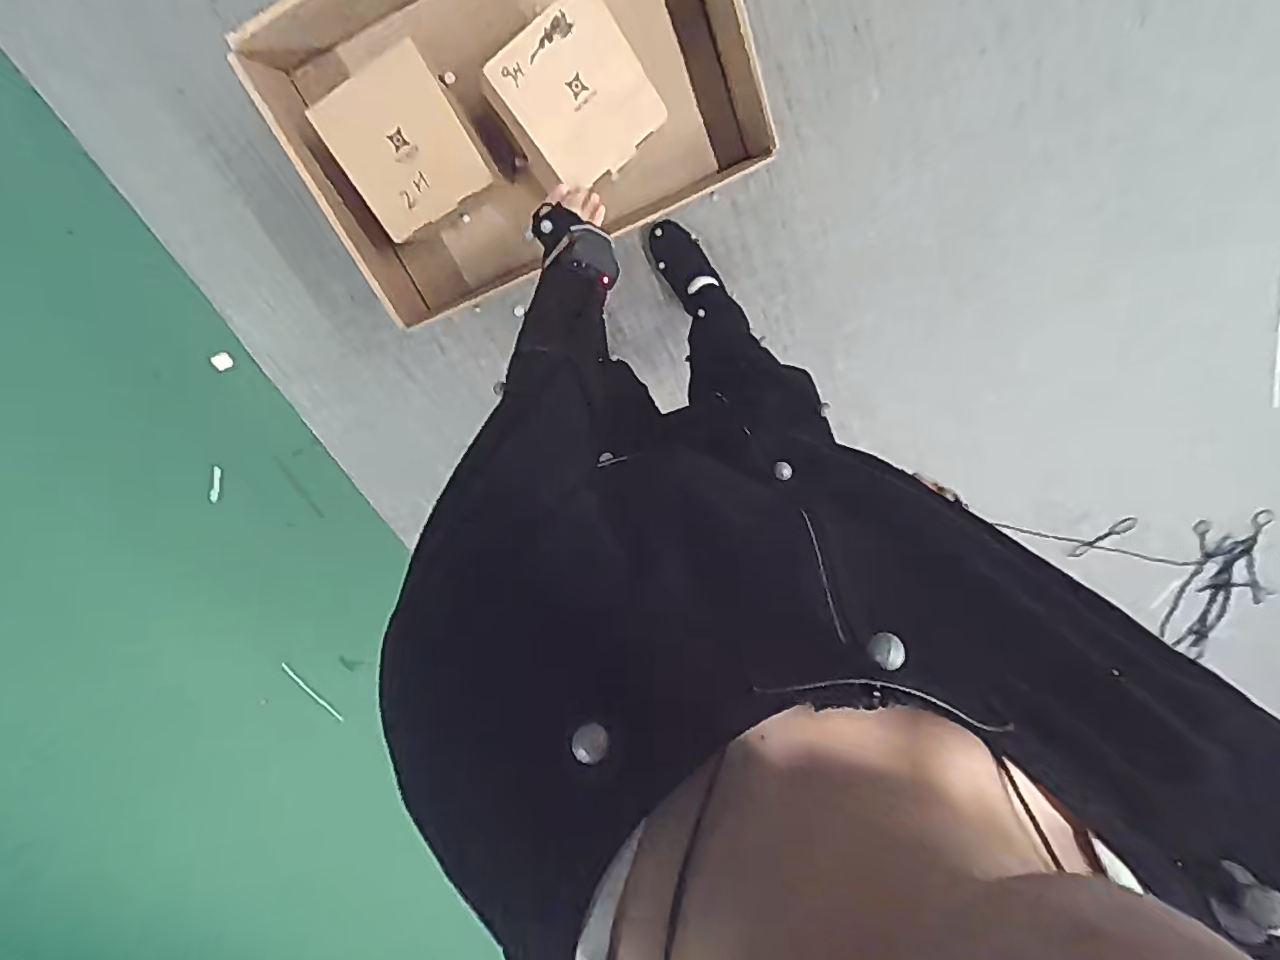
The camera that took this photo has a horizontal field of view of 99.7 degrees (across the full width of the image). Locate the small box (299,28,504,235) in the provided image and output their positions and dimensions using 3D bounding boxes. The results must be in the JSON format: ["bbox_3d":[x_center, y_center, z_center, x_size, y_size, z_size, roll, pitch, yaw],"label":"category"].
[{"bbox_3d":[-0.314,-0.466,0.753,0.168,0.176,0.179,-26,116,10],"label":"small box"}]

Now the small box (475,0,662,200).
[{"bbox_3d":[-0.099,-0.507,0.733,0.168,0.176,0.179,-38,116,3],"label":"small box"}]
